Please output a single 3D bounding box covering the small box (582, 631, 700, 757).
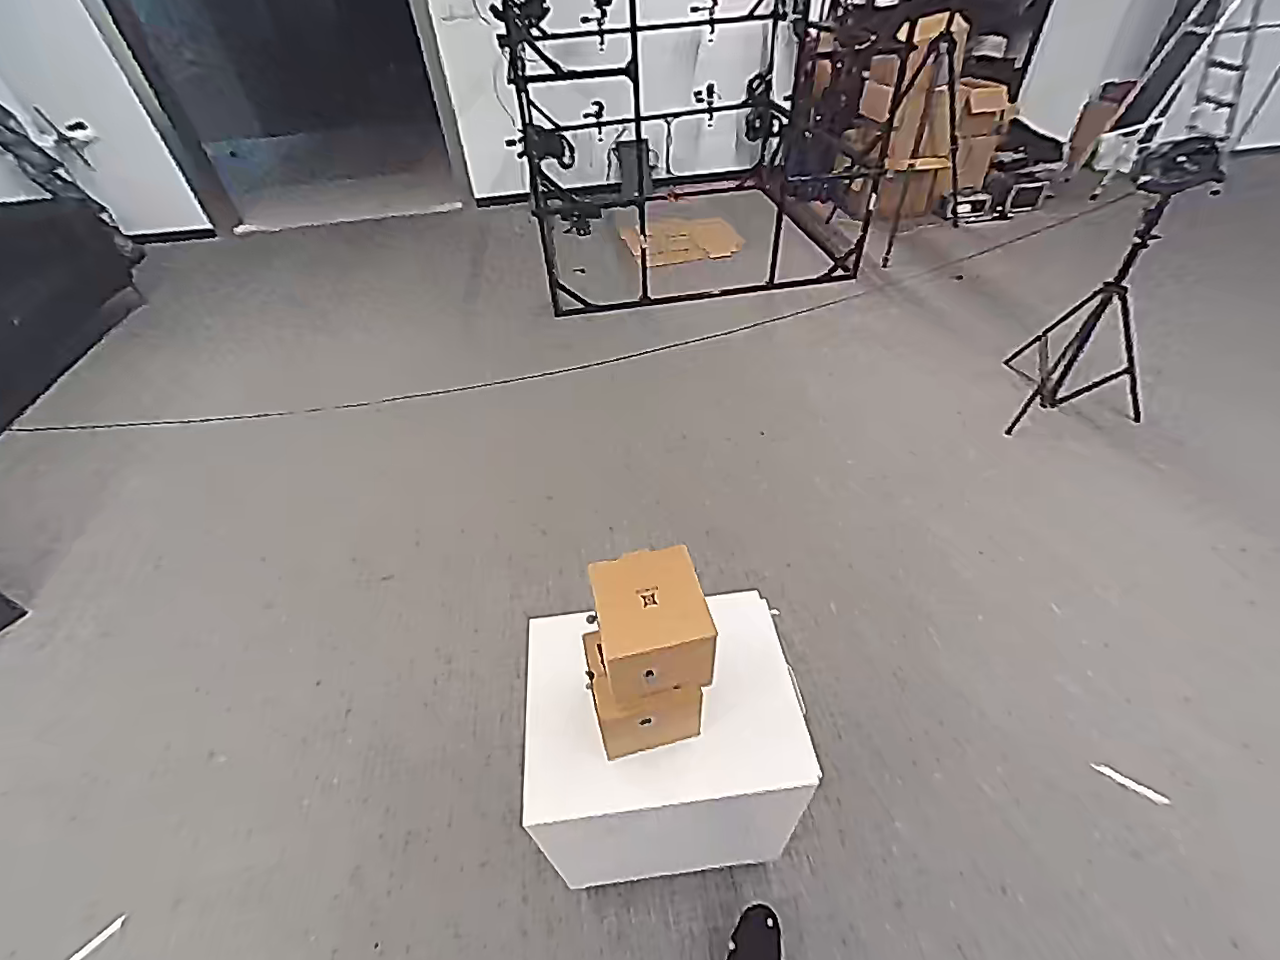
[{"bbox_3d":[0.002,0.373,0.975,0.179,0.176,0.168,-11,44,-8],"label":"small box"}]

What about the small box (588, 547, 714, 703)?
[{"bbox_3d":[0.016,0.240,0.878,0.168,0.176,0.179,-11,43,-7],"label":"small box"}]
